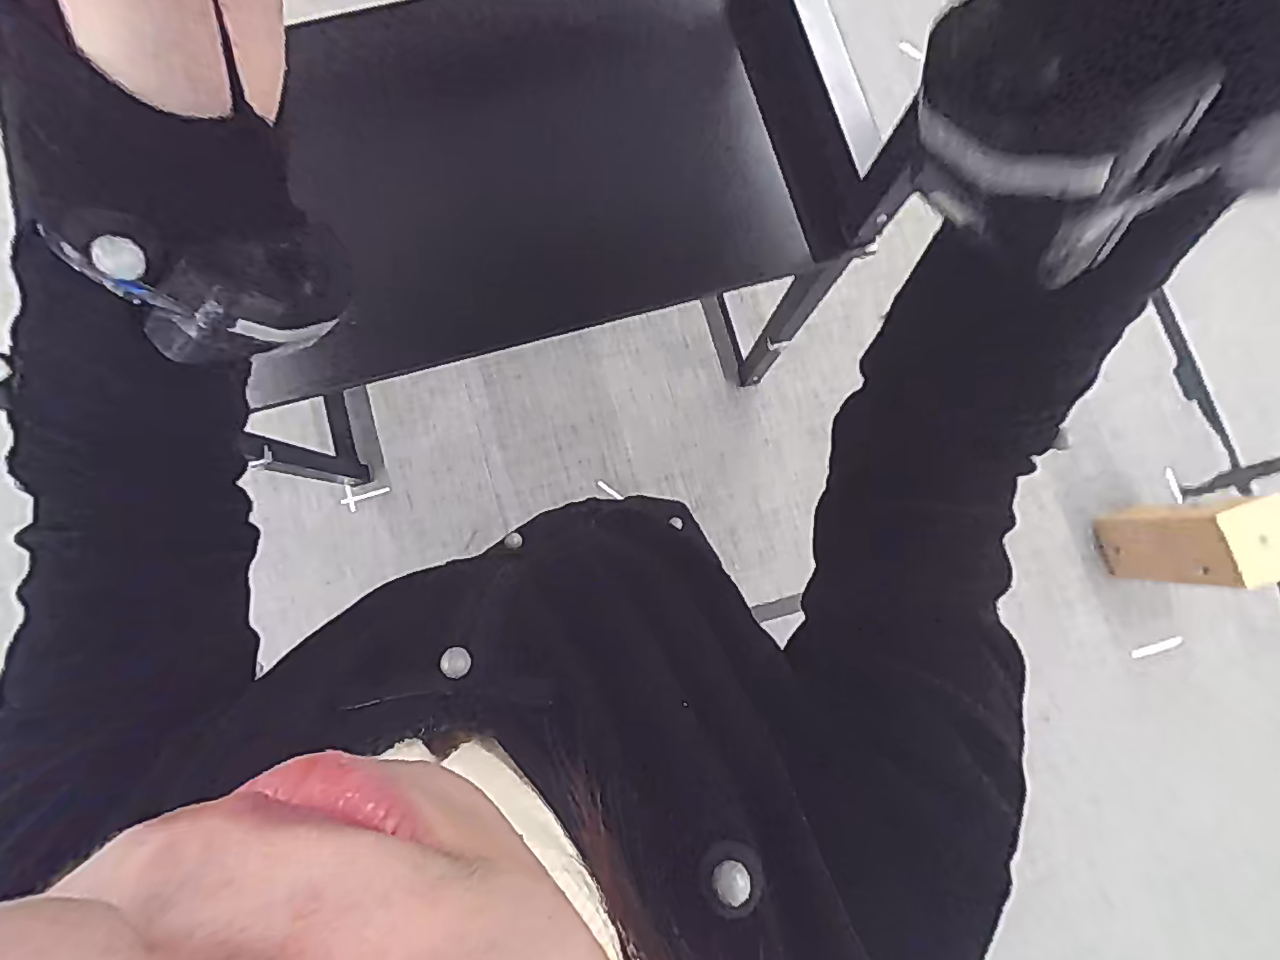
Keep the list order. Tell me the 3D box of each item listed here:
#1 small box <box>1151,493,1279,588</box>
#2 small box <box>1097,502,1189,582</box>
[{"bbox_3d":[1.380,0.140,1.271,0.168,0.176,0.179,-18,84,-3],"label":"small box"},{"bbox_3d":[1.380,0.158,1.434,0.168,0.176,0.179,-16,85,-3],"label":"small box"}]
